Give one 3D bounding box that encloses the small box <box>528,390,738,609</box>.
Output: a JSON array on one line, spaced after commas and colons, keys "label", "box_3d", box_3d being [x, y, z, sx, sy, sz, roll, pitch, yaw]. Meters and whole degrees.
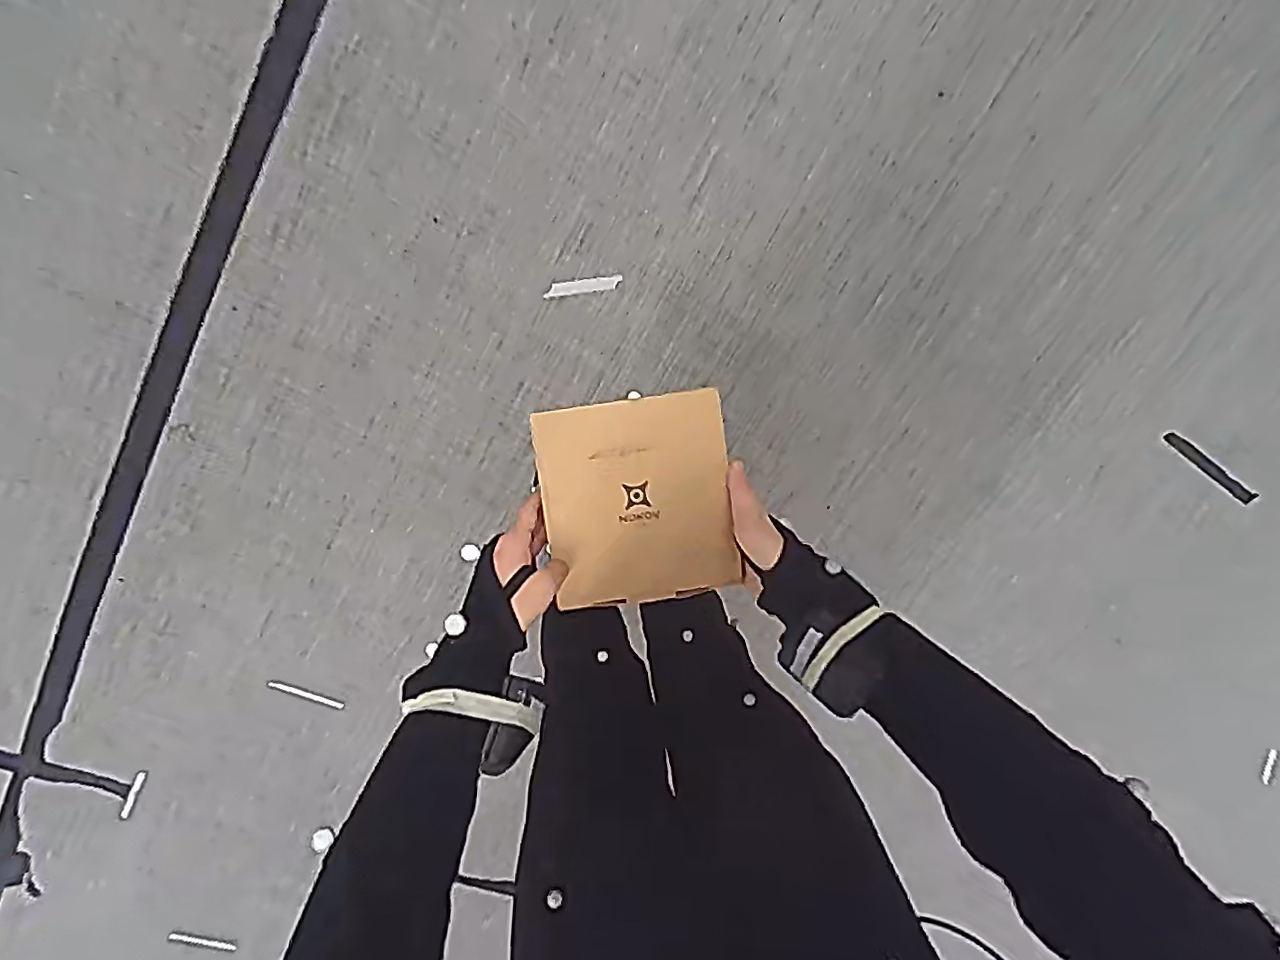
[{"label": "small box", "box_3d": [-0.005, 0.014, 0.550, 0.168, 0.176, 0.179, -9, 92, 0]}]
